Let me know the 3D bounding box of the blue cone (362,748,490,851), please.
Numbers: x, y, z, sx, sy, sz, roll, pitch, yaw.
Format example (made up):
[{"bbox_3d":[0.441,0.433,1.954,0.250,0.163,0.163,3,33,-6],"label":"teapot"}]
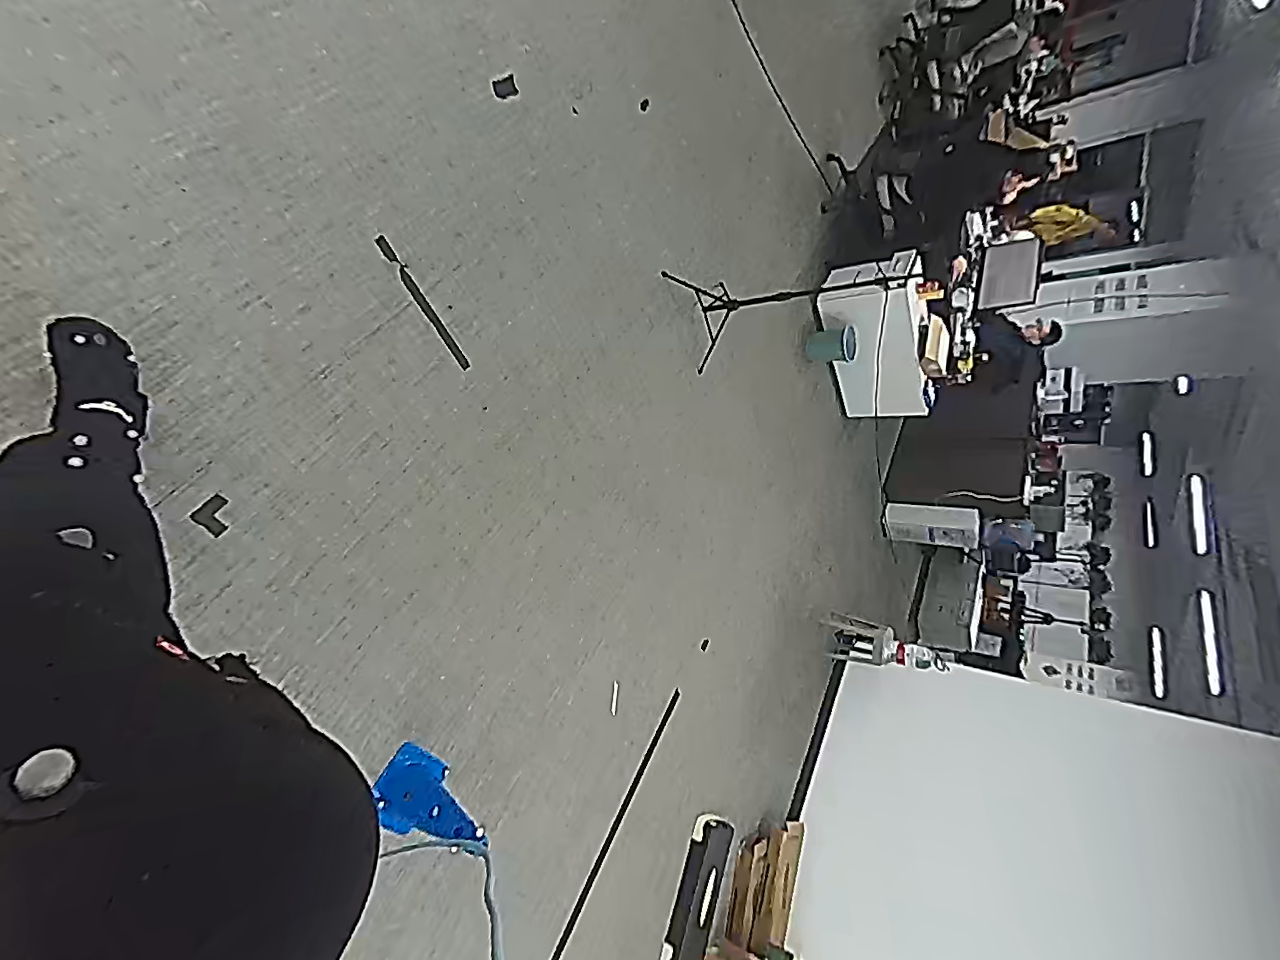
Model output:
[{"bbox_3d":[-0.525,0.870,1.400,0.192,0.380,0.193,-57,133,-34],"label":"blue cone"}]
